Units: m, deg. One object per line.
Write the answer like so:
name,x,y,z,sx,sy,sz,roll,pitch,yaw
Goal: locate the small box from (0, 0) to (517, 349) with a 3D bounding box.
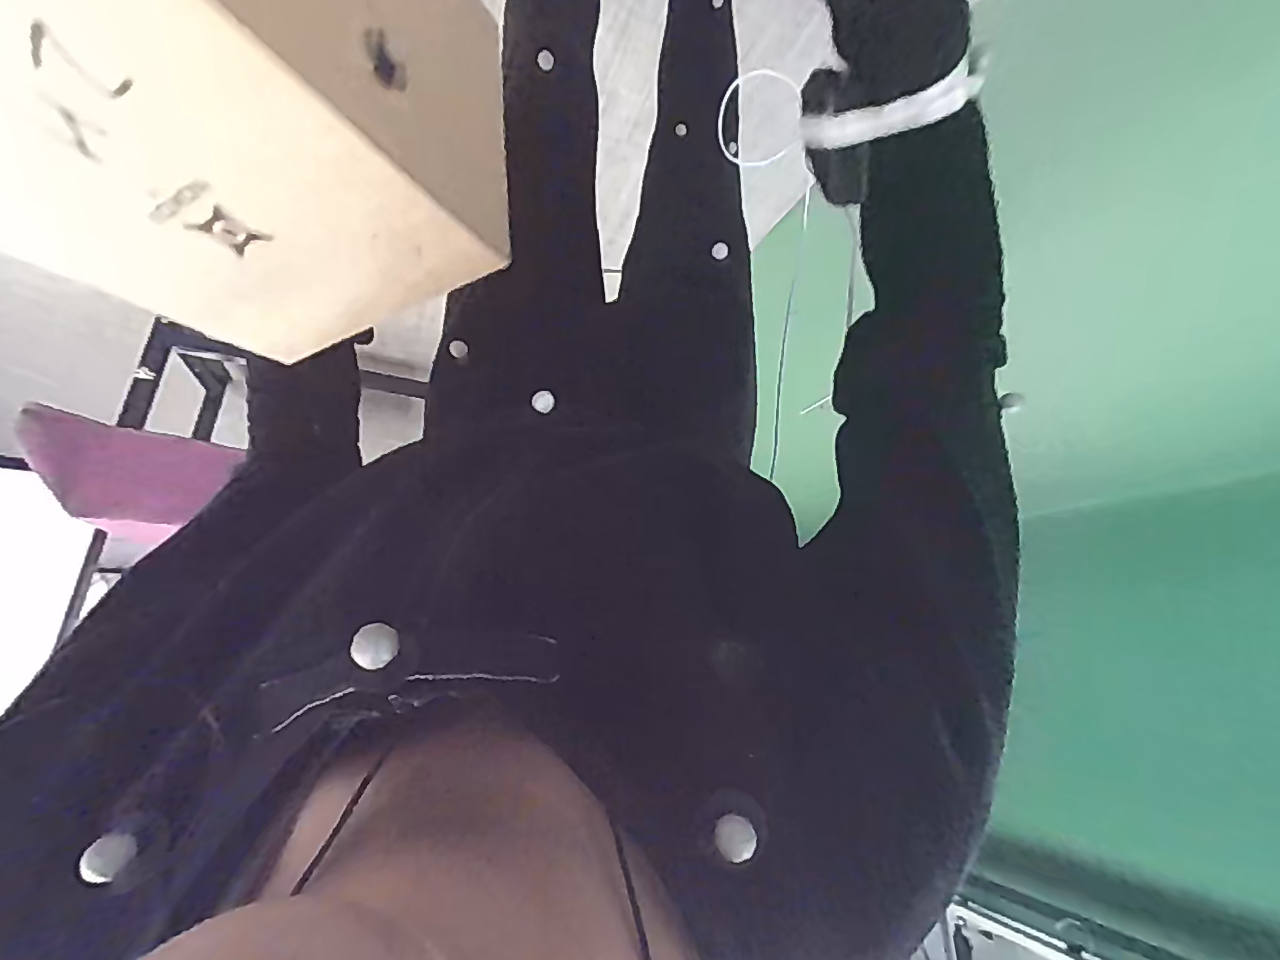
small box,-0.172,-0.189,0.233,0.168,0.176,0.179,-14,161,19
